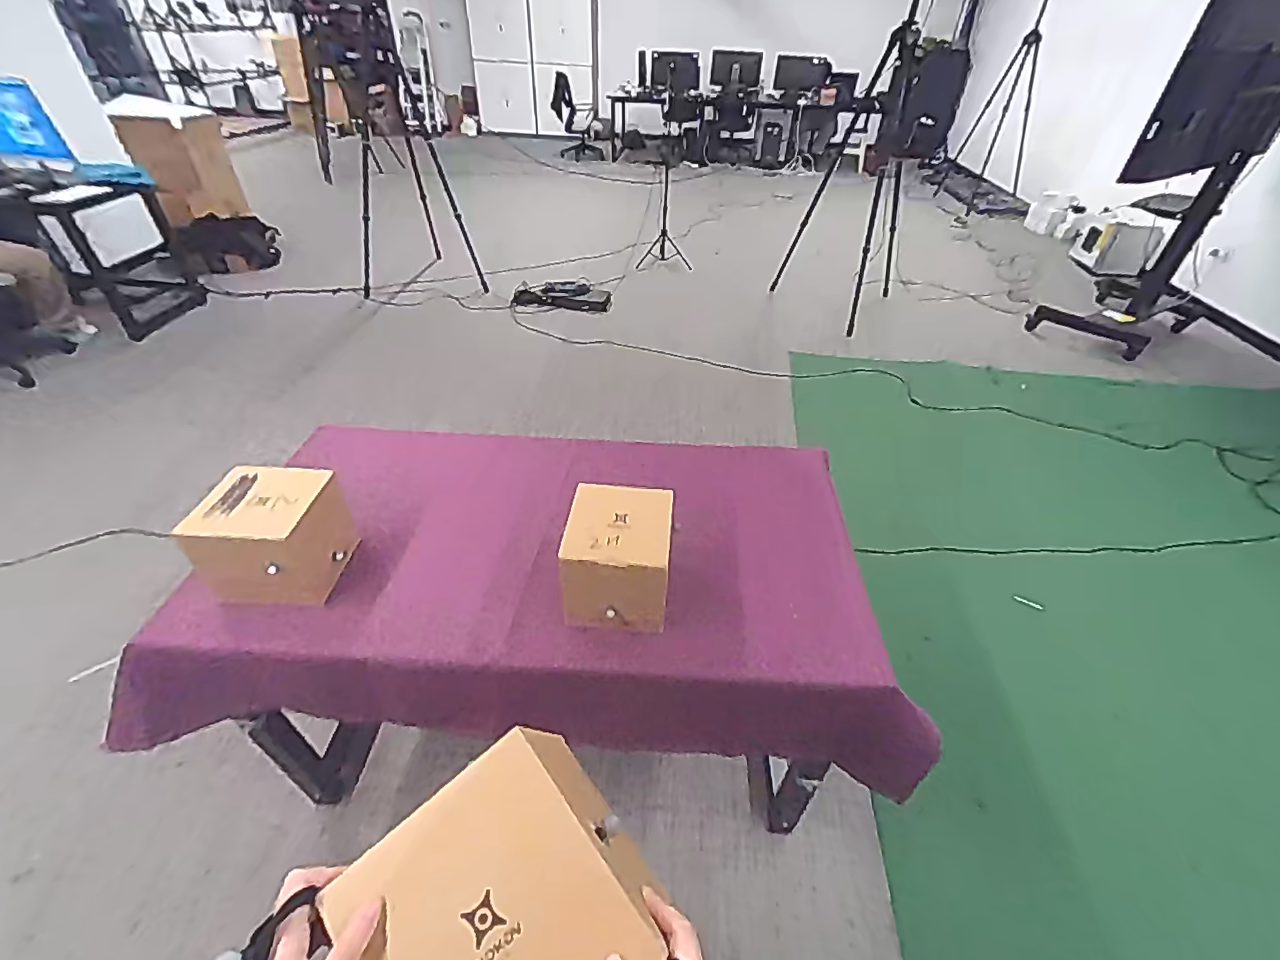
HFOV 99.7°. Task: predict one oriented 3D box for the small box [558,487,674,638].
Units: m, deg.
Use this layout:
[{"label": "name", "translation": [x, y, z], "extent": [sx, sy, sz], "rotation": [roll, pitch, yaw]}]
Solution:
[{"label": "small box", "translation": [-0.036, 0.136, 0.905], "extent": [0.168, 0.176, 0.179], "rotation": [4, 41, 4]}]
